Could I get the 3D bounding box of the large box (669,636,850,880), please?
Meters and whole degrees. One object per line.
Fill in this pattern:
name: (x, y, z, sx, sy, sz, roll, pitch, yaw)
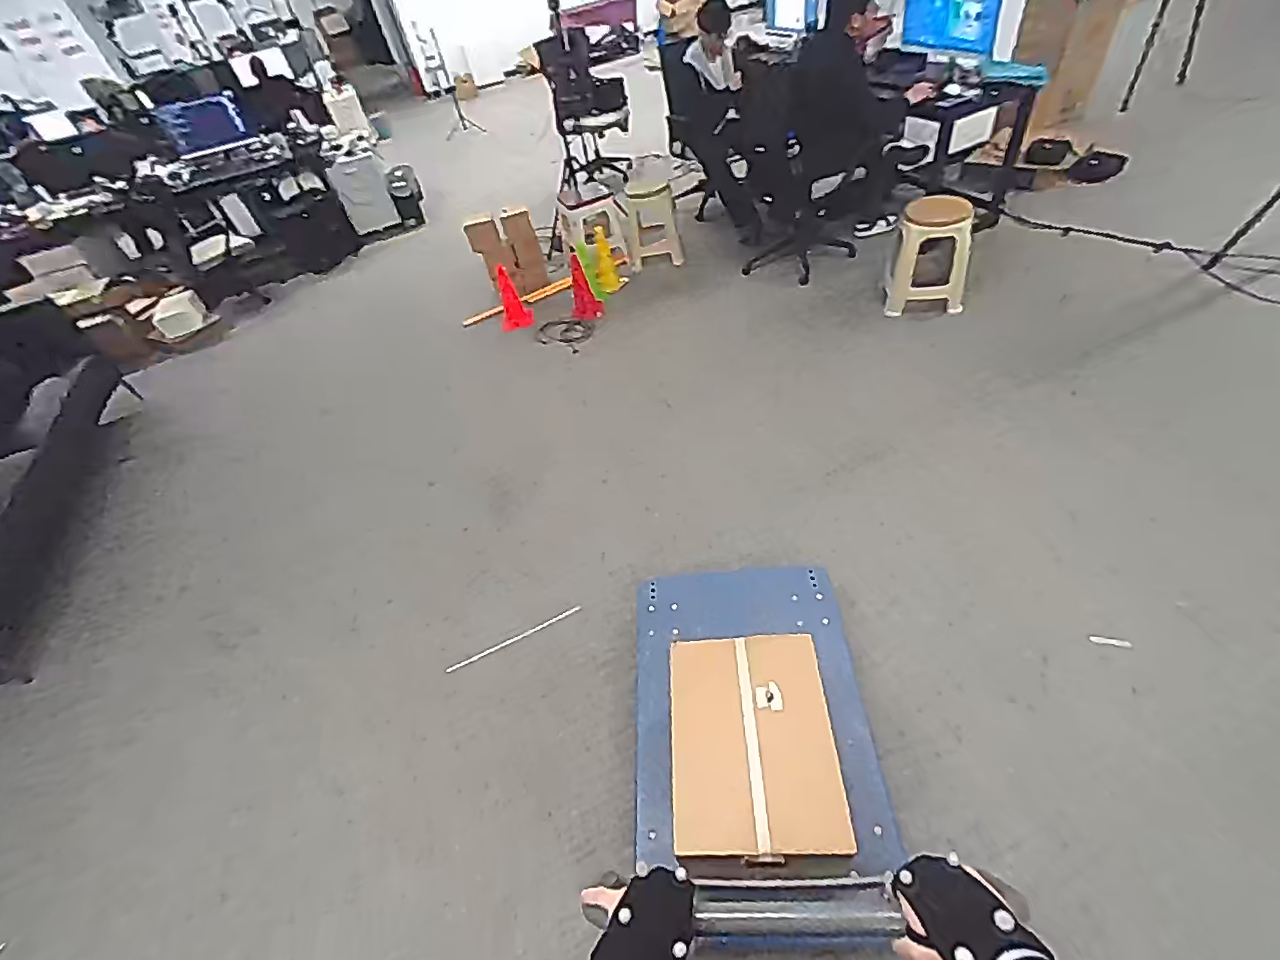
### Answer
large box: (0.241, 0.608, 1.187, 0.320, 0.320, 0.408, -5, 45, 8)
